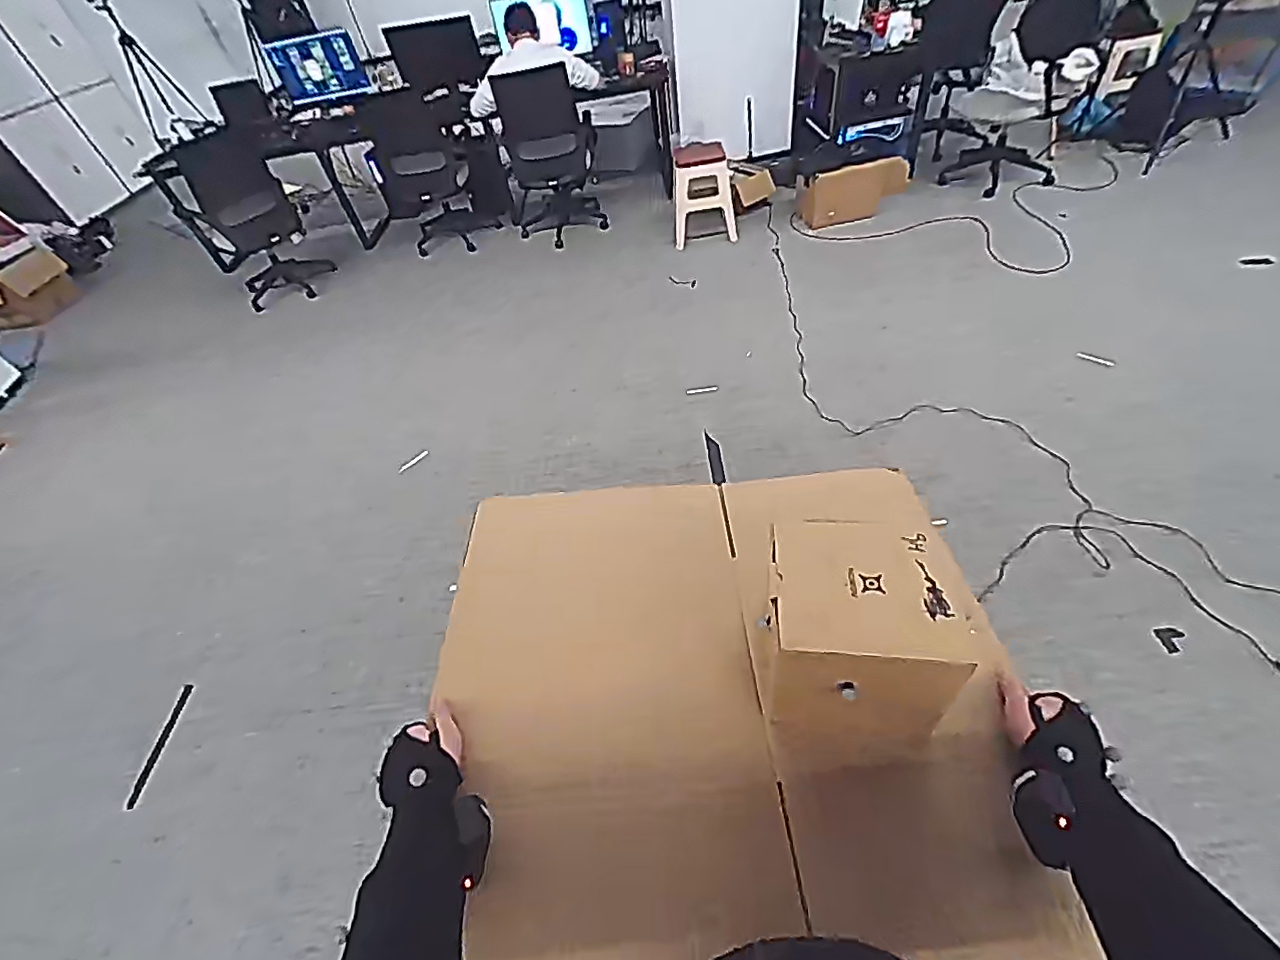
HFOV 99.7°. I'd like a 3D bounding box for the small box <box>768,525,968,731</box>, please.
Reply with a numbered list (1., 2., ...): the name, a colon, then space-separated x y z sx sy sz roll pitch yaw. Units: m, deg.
1. small box: 0.237 0.168 0.616 0.179 0.176 0.168 0 45 11
